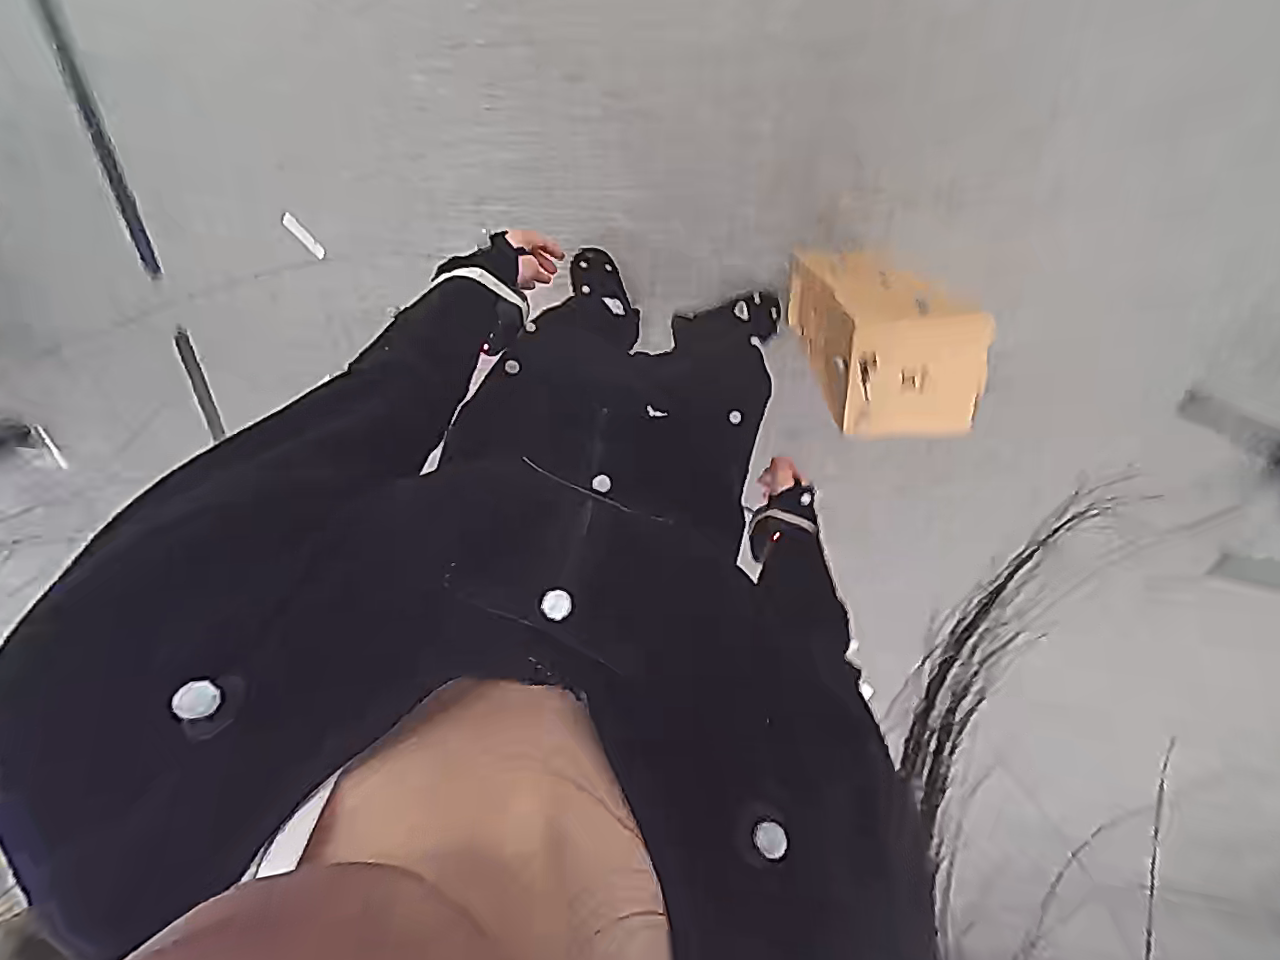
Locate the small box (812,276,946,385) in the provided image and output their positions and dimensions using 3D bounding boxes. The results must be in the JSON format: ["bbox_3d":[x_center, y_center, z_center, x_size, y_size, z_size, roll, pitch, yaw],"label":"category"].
[{"bbox_3d":[0.404,-0.251,0.948,0.168,0.176,0.179,2,120,7],"label":"small box"}]

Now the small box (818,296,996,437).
[{"bbox_3d":[0.379,-0.174,0.805,0.179,0.176,0.168,1,120,6],"label":"small box"}]

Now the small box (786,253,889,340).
[{"bbox_3d":[0.435,-0.416,1.225,0.179,0.176,0.168,2,120,5],"label":"small box"}]

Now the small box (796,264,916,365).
[{"bbox_3d":[0.419,-0.334,1.087,0.179,0.176,0.168,1,121,5],"label":"small box"}]
